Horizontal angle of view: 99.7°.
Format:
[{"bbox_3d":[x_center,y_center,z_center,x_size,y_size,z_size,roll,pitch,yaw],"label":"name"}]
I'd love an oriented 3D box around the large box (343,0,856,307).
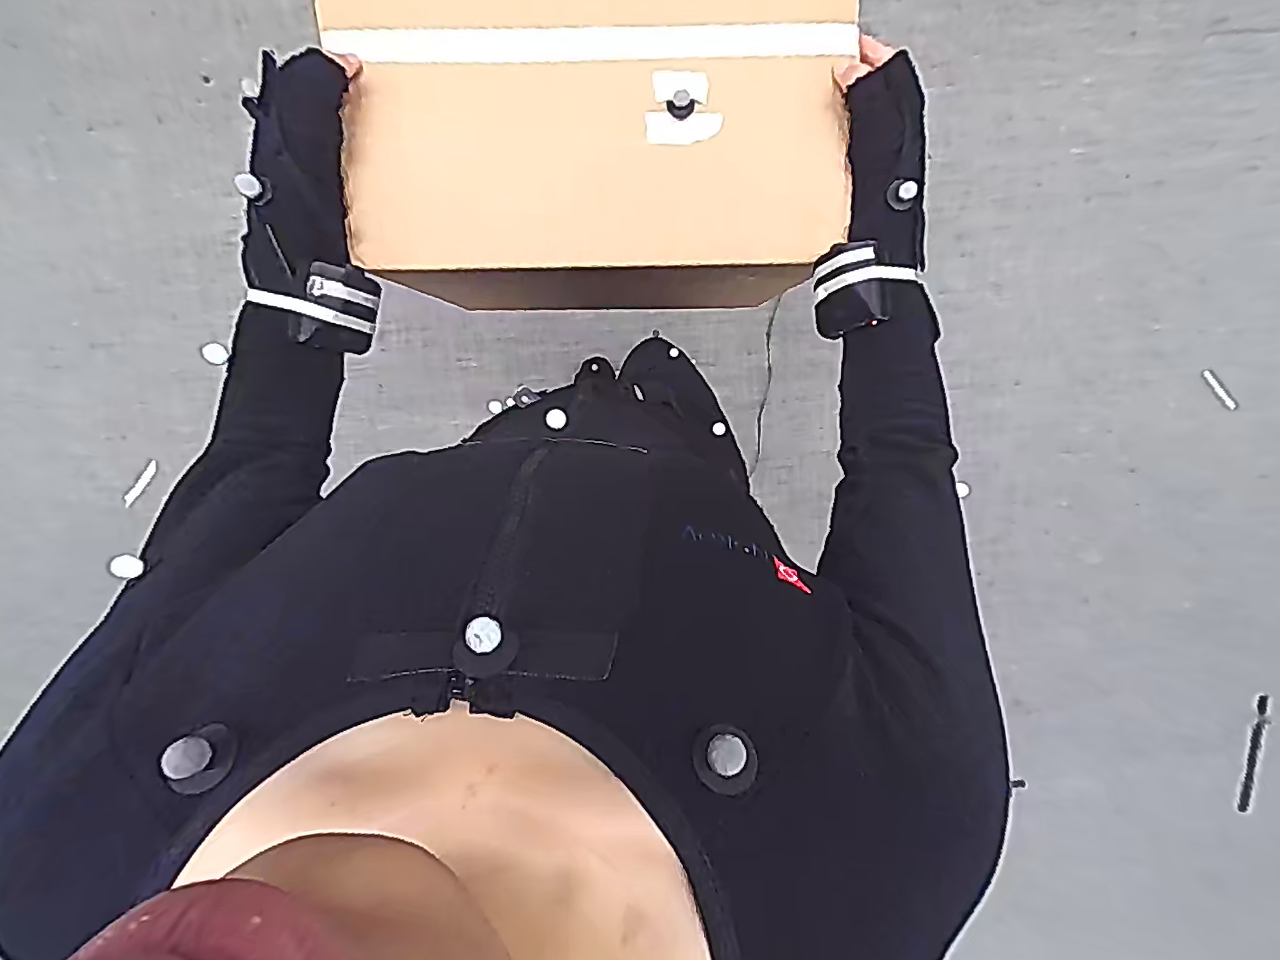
[{"bbox_3d":[-0.034,-0.367,0.570,0.408,0.320,0.320,-1,101,-1],"label":"large box"}]
